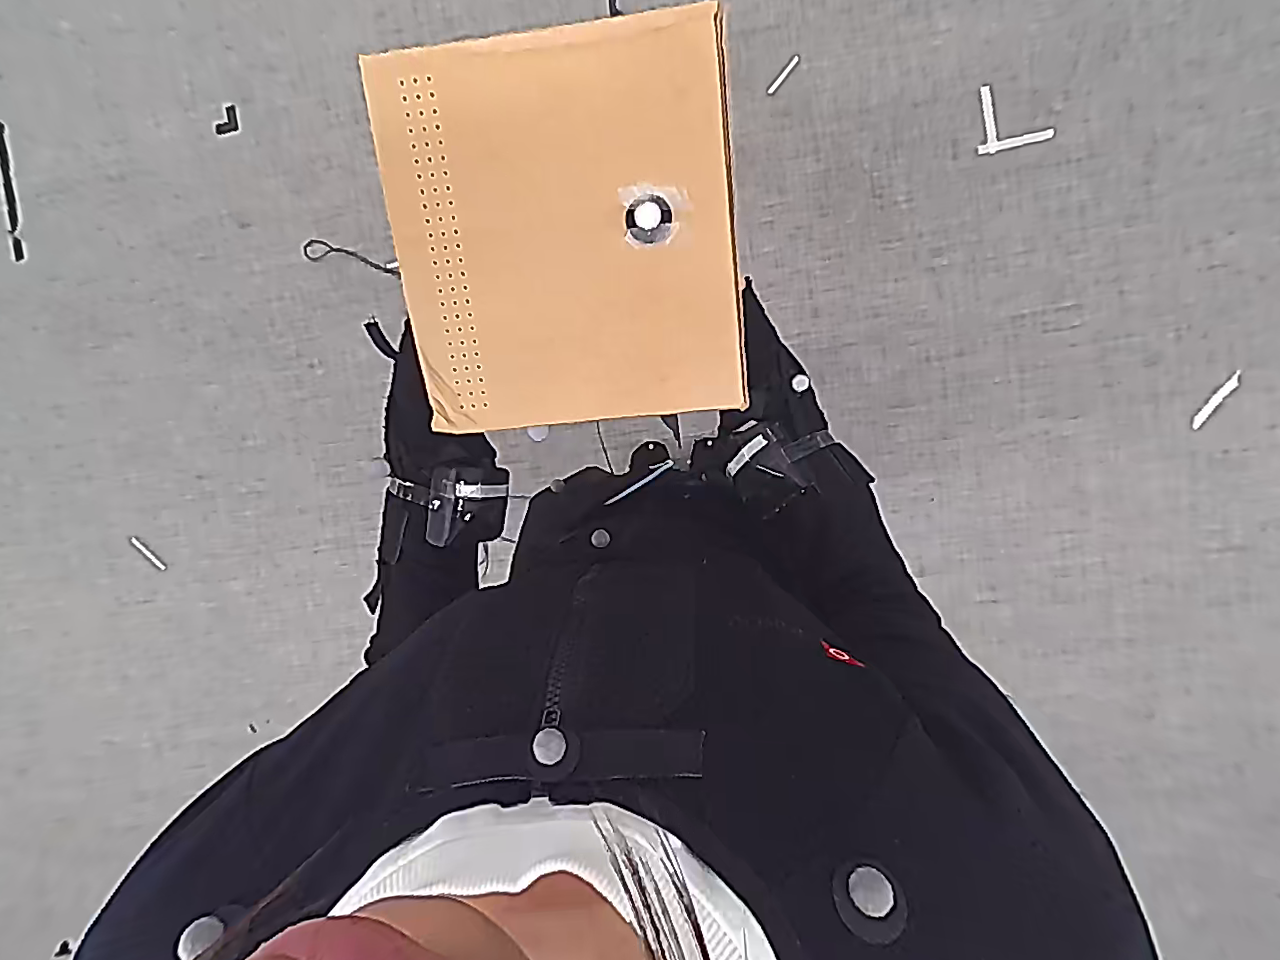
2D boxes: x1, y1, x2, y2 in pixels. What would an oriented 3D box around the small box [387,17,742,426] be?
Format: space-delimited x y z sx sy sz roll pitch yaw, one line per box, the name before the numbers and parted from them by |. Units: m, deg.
small box | -0.035 -0.138 0.346 0.176 0.168 0.179 -5 104 6
